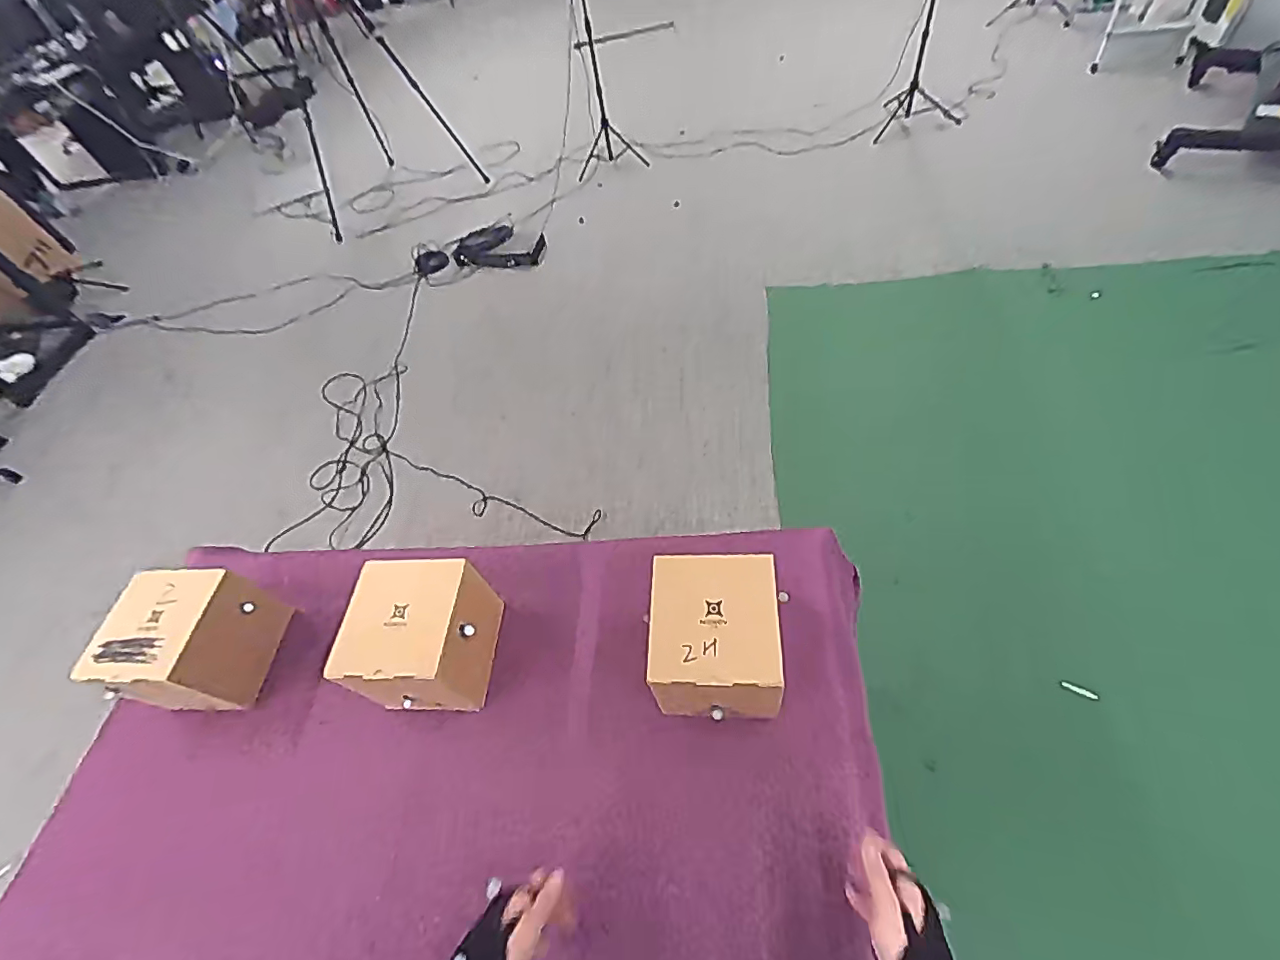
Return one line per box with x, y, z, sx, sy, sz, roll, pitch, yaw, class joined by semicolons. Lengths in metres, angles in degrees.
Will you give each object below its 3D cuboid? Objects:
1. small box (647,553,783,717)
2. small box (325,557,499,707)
0.106;0.218;0.760;0.168;0.176;0.179;-2;55;10;small box
-0.329;0.233;0.826;0.168;0.176;0.179;-2;55;8;small box
